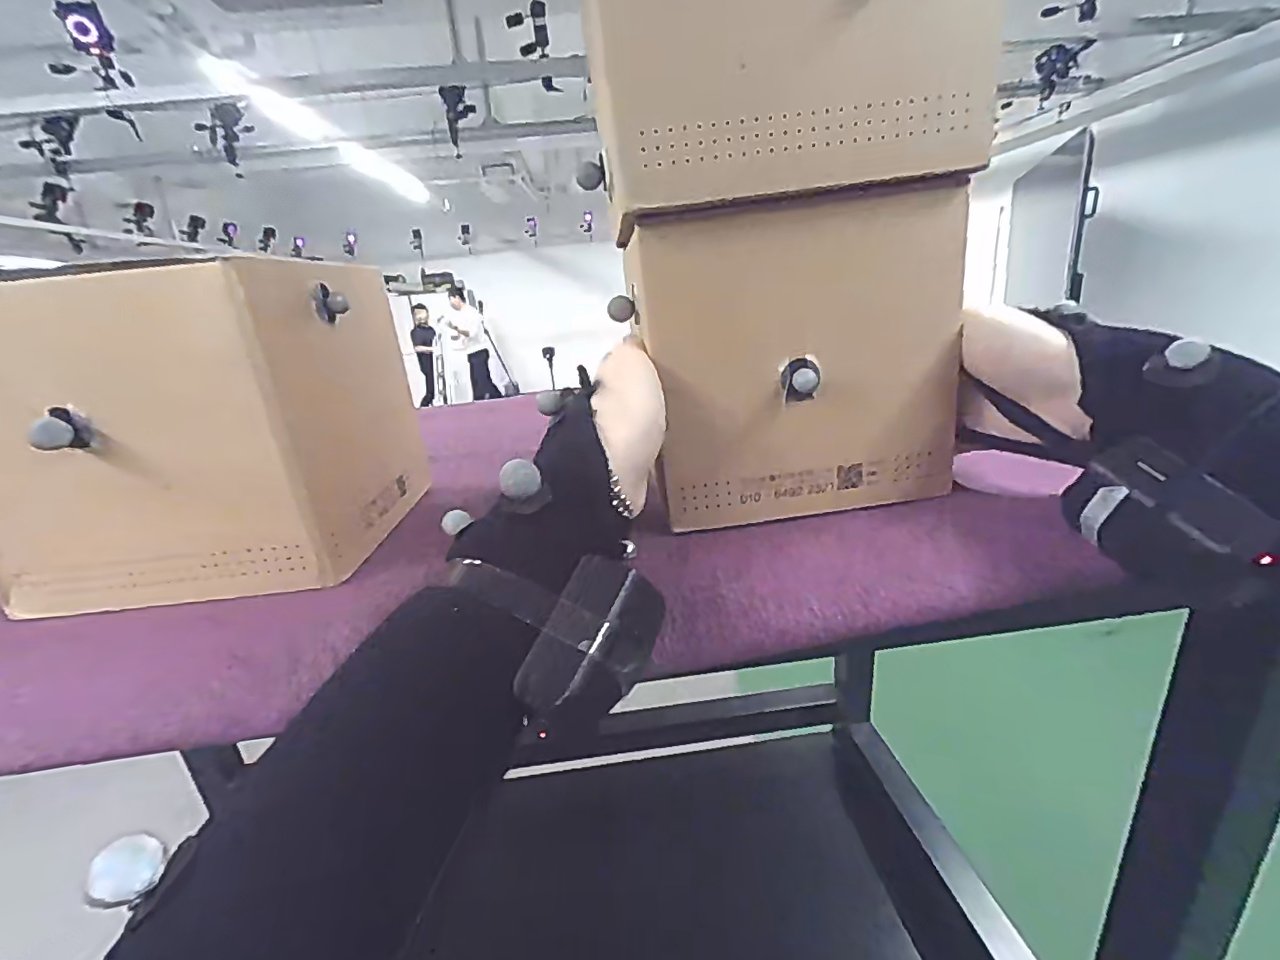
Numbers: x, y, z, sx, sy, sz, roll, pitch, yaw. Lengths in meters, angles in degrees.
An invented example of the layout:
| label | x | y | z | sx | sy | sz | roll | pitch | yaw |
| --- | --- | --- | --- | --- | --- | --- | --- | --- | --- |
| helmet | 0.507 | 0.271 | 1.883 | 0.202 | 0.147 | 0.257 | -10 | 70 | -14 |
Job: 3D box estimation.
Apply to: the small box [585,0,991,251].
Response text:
| label | x | y | z | sx | sy | sz | roll | pitch | yaw |
| --- | --- | --- | --- | --- | --- | --- | --- | --- | --- |
| small box | 0.063 | -0.228 | 0.299 | 0.179 | 0.176 | 0.168 | -9 | 17 | -2 |

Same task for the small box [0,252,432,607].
| label | x | y | z | sx | sy | sz | roll | pitch | yaw |
| --- | --- | --- | --- | --- | --- | --- | --- | --- | --- |
| small box | -0.255 | -0.036 | 0.336 | 0.179 | 0.176 | 0.168 | -6 | 20 | -1 |

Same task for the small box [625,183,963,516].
| label | x | y | z | sx | sy | sz | roll | pitch | yaw |
| --- | --- | --- | --- | --- | --- | --- | --- | --- | --- |
| small box | 0.083 | -0.080 | 0.363 | 0.168 | 0.176 | 0.179 | -7 | 18 | -2 |
